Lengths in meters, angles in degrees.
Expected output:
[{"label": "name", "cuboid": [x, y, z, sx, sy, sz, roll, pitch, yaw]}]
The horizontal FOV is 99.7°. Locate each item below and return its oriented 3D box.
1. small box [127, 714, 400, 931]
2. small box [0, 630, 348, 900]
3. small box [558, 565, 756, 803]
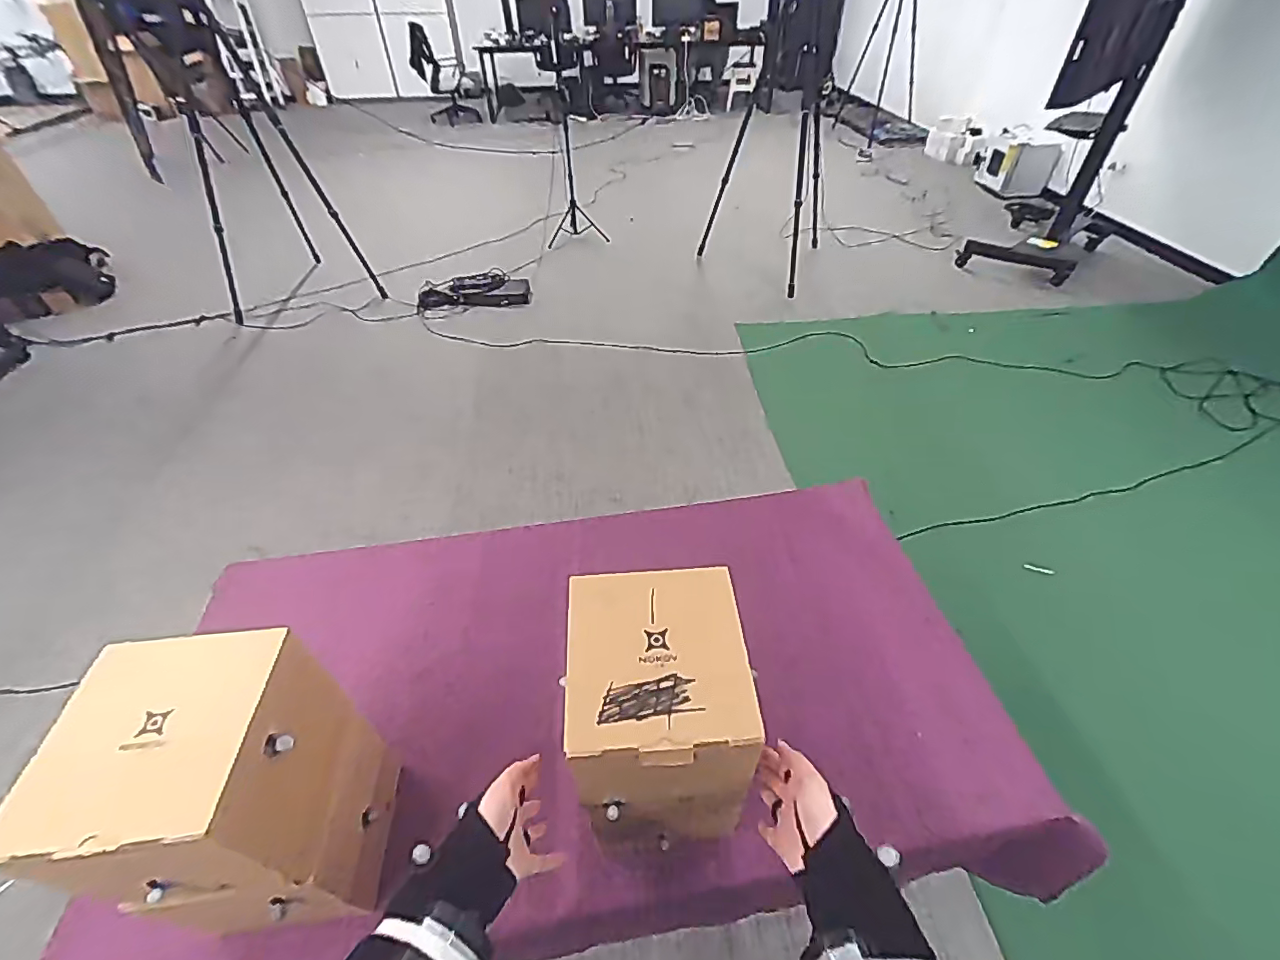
[{"label": "small box", "cuboid": [-0.399, 0.391, 0.619, 0.179, 0.176, 0.168, -5, 44, -4]}, {"label": "small box", "cuboid": [-0.406, 0.268, 0.512, 0.168, 0.176, 0.179, -5, 45, -4]}, {"label": "small box", "cuboid": [0.014, 0.211, 0.552, 0.168, 0.176, 0.179, -4, 43, -2]}]
